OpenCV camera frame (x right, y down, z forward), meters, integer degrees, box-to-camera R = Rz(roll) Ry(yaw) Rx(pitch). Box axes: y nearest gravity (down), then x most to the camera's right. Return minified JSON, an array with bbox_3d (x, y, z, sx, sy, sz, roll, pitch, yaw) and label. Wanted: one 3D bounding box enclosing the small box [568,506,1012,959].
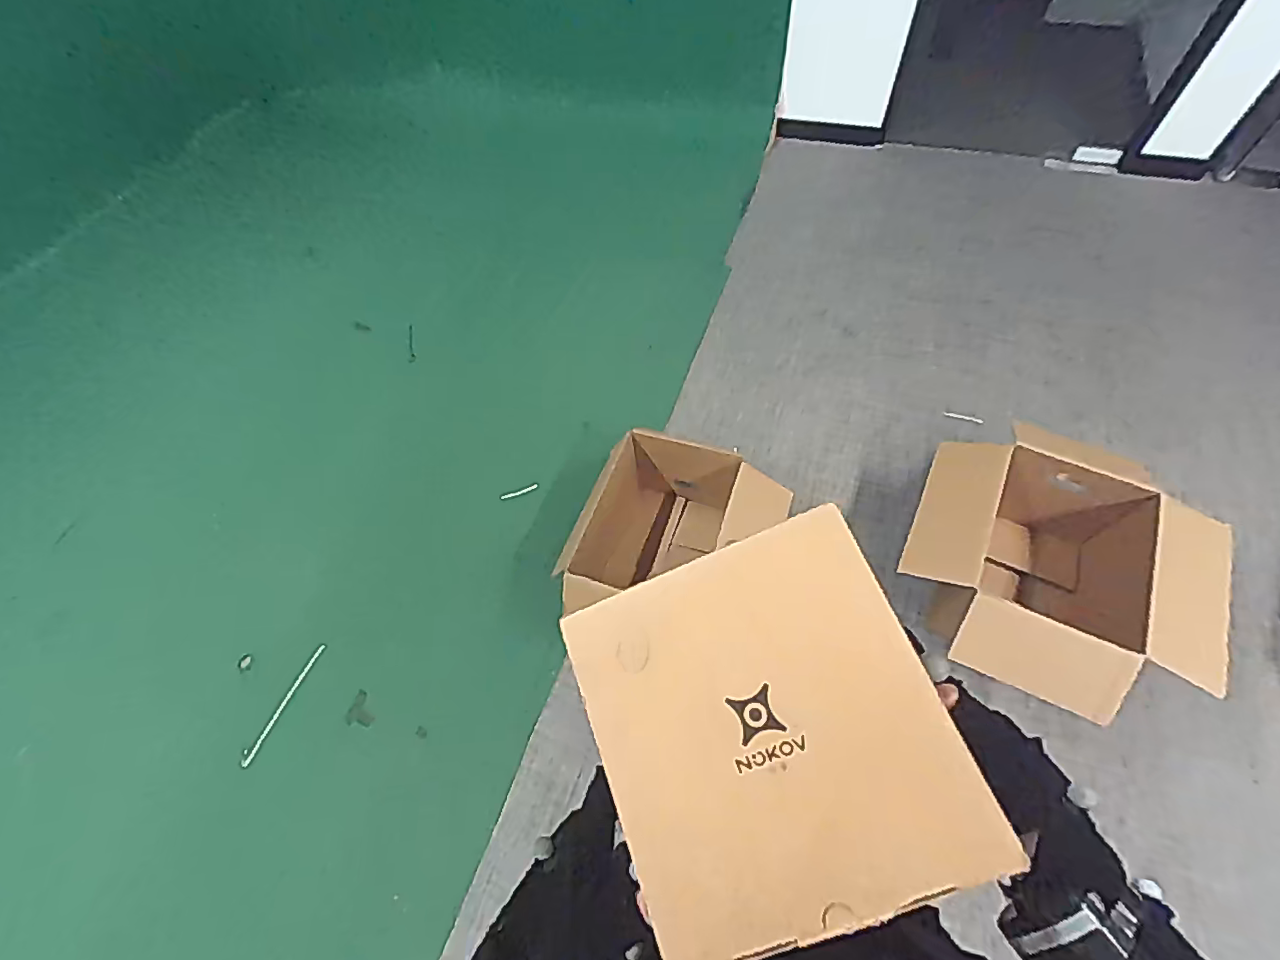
[{"bbox_3d":[0.079,0.141,0.347,0.168,0.176,0.179,-25,71,7],"label":"small box"}]
